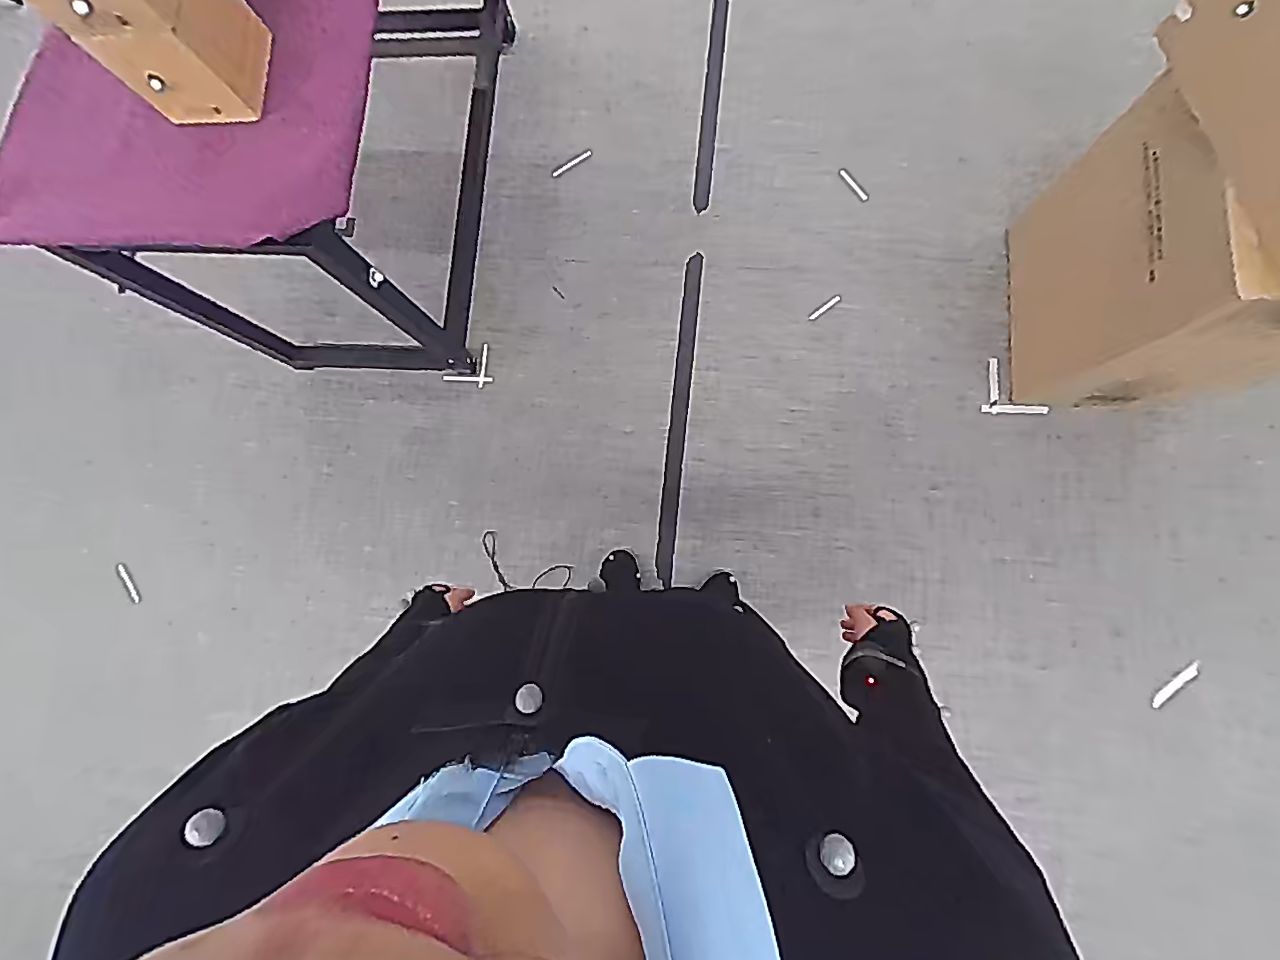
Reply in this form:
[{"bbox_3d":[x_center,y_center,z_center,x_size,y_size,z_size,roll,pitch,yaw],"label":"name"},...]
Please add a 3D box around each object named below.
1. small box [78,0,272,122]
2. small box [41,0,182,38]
[{"bbox_3d":[-0.744,-0.721,0.885,0.168,0.176,0.179,1,82,5],"label":"small box"},{"bbox_3d":[-0.753,-0.746,0.723,0.168,0.176,0.179,1,82,5],"label":"small box"}]
